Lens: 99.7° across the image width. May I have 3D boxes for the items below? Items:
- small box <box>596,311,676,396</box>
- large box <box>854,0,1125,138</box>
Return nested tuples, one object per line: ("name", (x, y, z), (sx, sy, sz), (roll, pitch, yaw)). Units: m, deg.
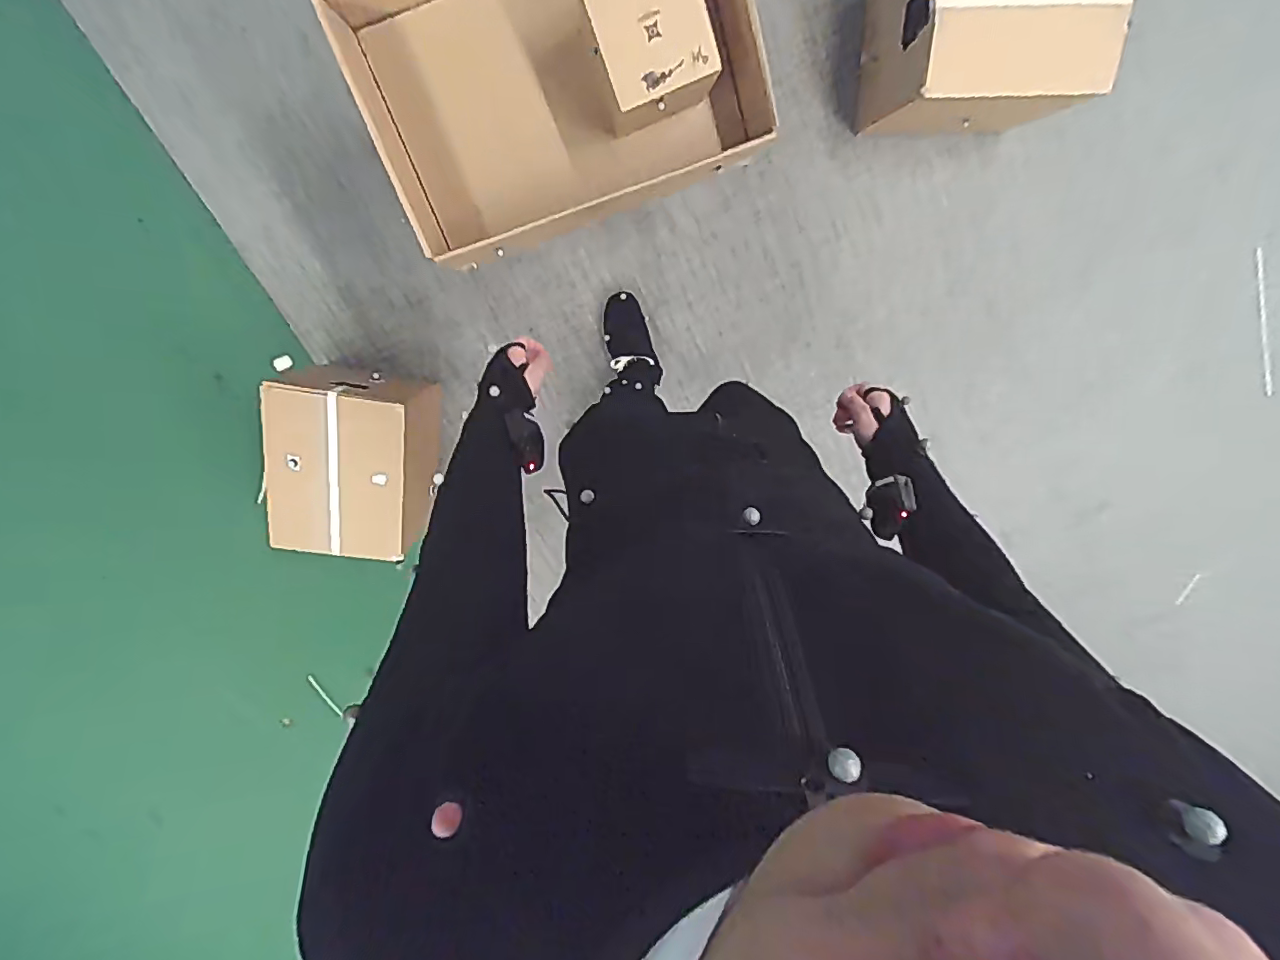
("small box", (-0.015, -0.345, 1.464), (0.168, 0.176, 0.179), (18, 105, -7))
("large box", (0.743, -0.970, 1.191), (0.408, 0.320, 0.320), (-3, 110, -3))
